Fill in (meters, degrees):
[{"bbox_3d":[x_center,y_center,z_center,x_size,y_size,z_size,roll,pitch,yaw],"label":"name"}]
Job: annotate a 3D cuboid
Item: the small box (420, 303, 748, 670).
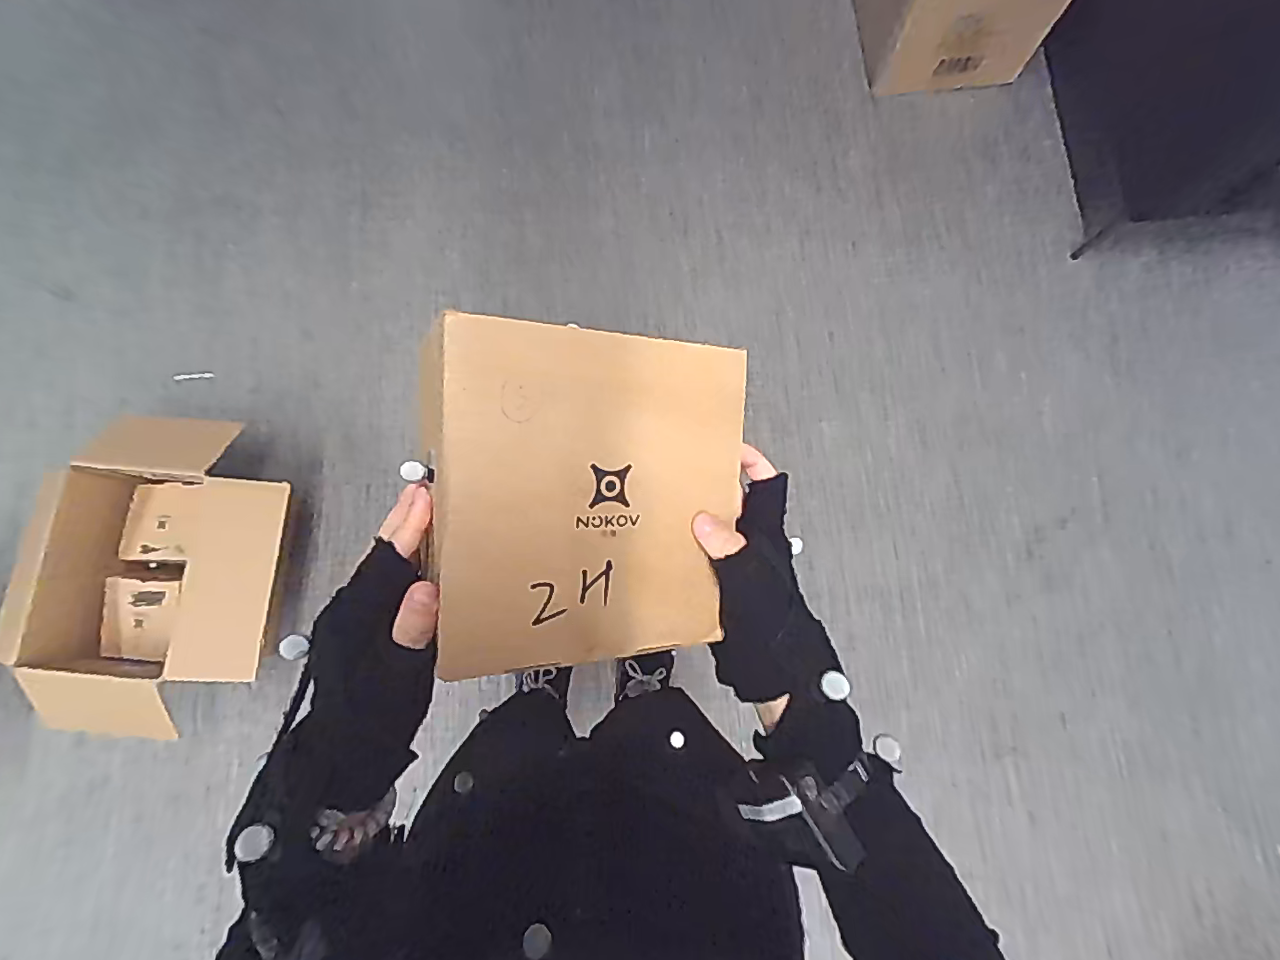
[{"bbox_3d":[-0.051,-0.002,0.356,0.168,0.176,0.179,0,97,-26],"label":"small box"}]
